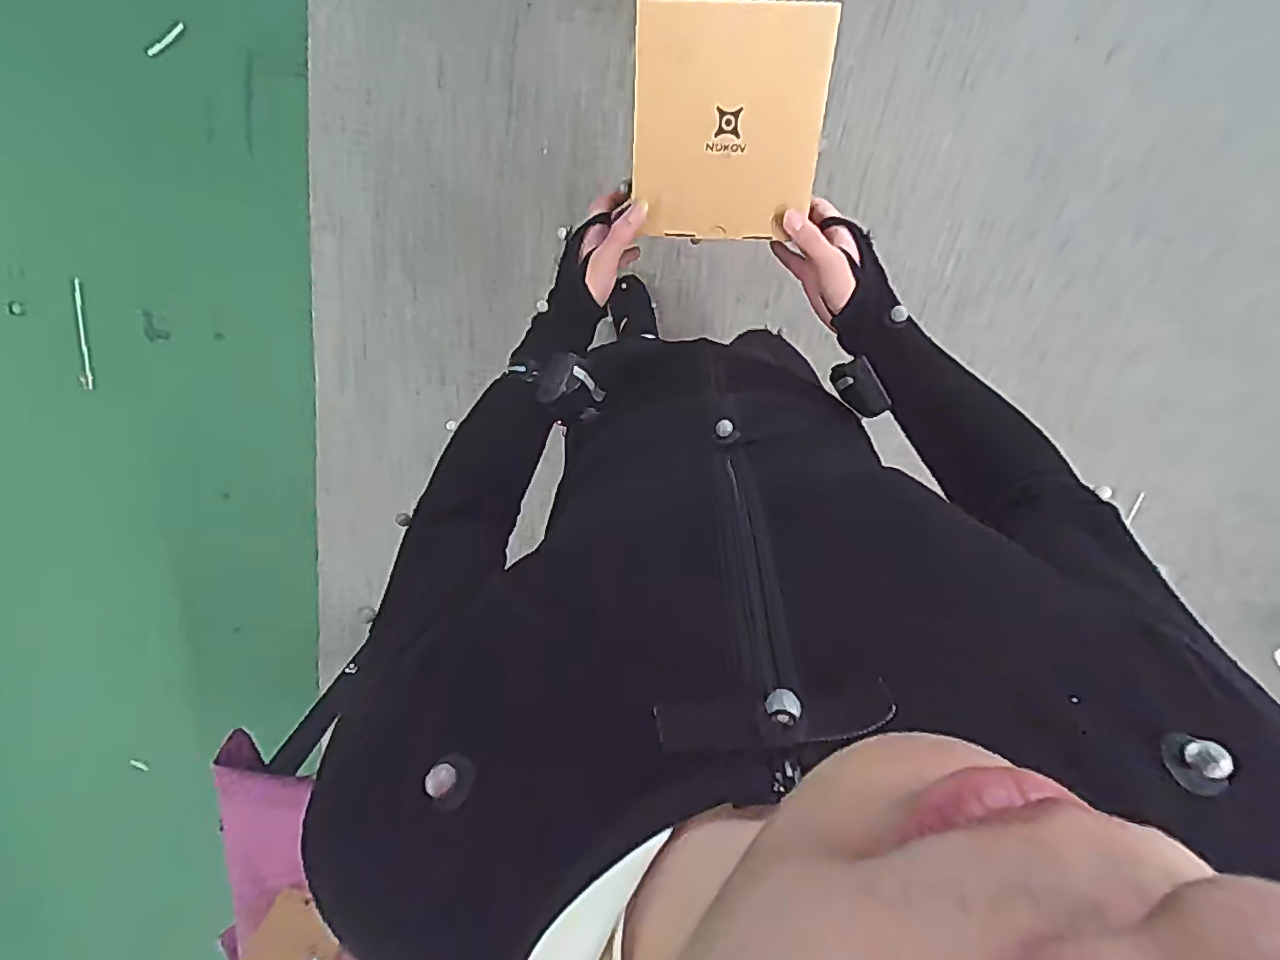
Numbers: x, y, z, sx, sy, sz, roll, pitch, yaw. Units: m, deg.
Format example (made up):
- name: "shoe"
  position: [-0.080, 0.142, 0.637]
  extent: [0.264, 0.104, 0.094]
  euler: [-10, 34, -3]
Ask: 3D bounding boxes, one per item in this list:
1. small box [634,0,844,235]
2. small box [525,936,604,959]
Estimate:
- name: "small box"
  position: [0.079, -0.347, 0.535]
  extent: [0.168, 0.176, 0.179]
  euler: [2, 119, 0]
- name: "small box"
  position: [-0.189, 1.164, 1.199]
  extent: [0.179, 0.176, 0.168]
  euler: [17, 108, -4]
